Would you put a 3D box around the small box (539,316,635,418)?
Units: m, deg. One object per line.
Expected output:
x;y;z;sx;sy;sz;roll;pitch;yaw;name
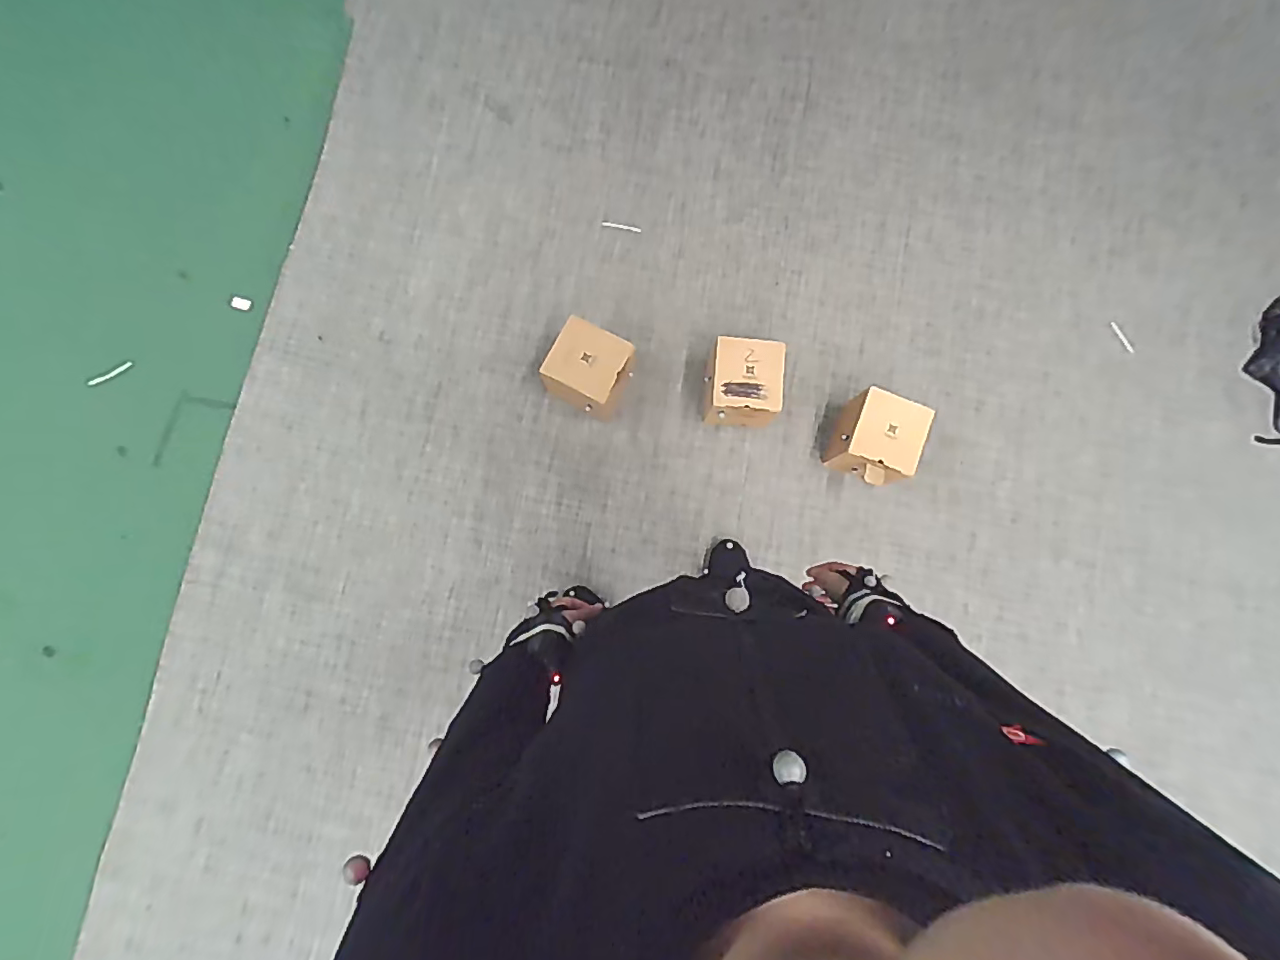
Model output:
-0.121;-0.268;1.335;0.179;0.176;0.168;25;82;6;small box

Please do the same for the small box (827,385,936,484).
0.587;-0.105;1.335;0.168;0.176;0.179;21;82;1;small box
